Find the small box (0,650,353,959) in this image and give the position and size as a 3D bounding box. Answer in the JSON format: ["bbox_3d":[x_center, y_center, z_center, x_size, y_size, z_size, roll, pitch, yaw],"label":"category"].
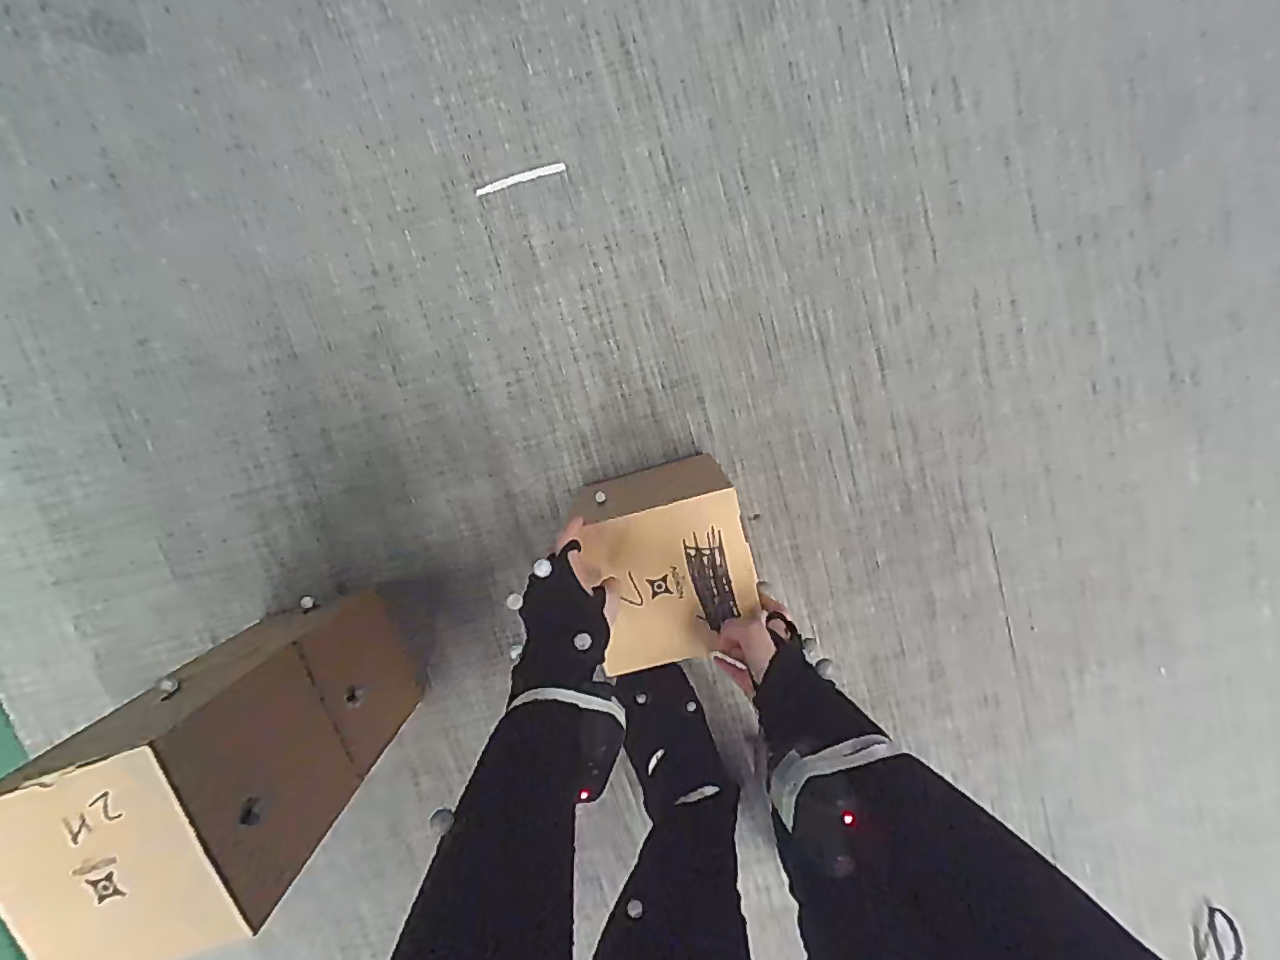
[{"bbox_3d":[-0.402,0.288,0.493,0.168,0.176,0.179,-19,98,2],"label":"small box"}]

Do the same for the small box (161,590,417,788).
[{"bbox_3d":[-0.401,0.260,0.655,0.168,0.176,0.179,-18,98,2],"label":"small box"}]
